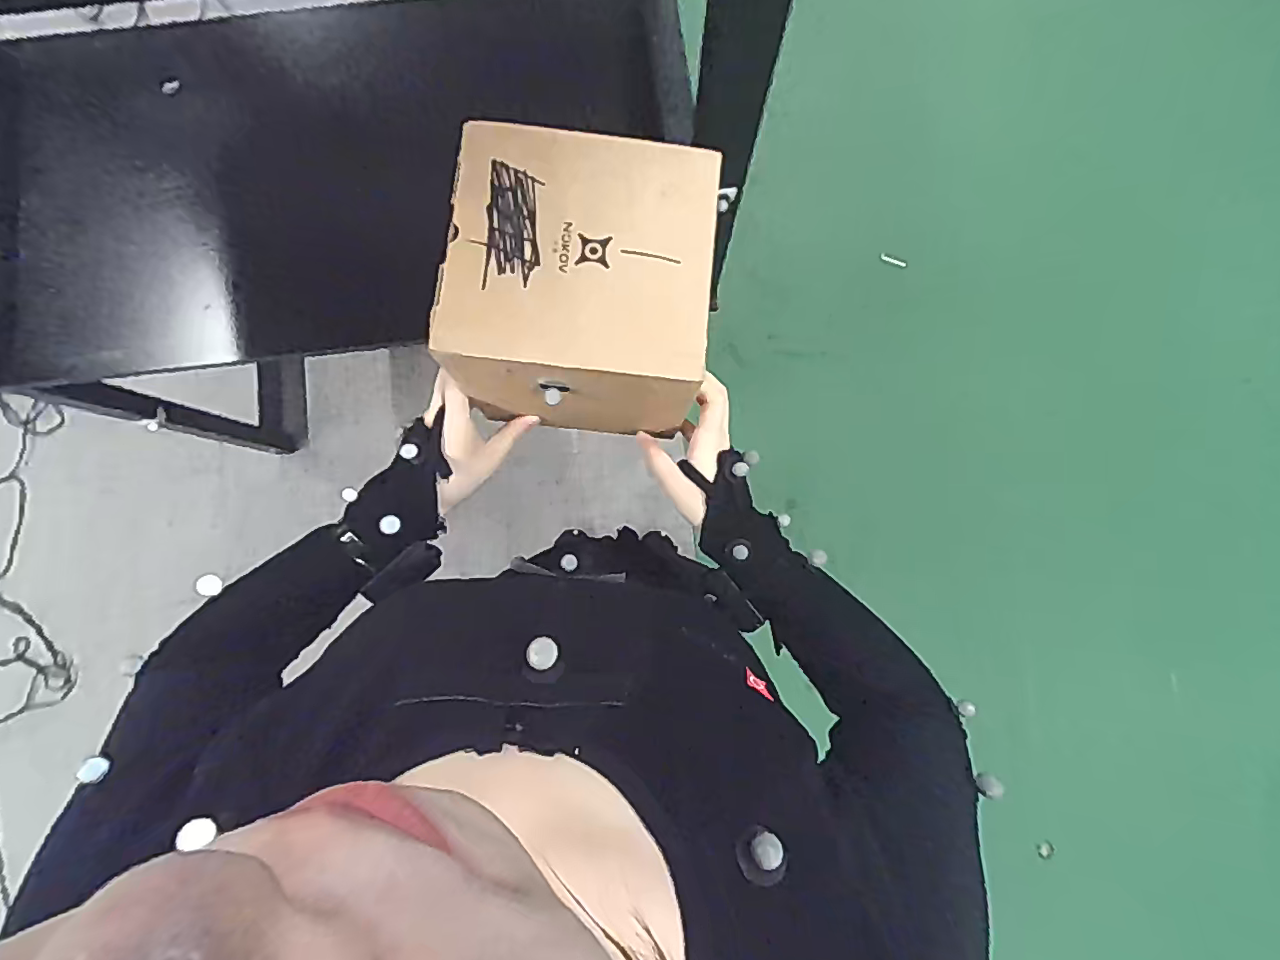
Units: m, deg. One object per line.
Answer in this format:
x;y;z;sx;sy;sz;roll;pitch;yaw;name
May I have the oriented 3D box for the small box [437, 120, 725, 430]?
-0.040;-0.143;0.436;0.179;0.176;0.168;6;82;-3;small box
